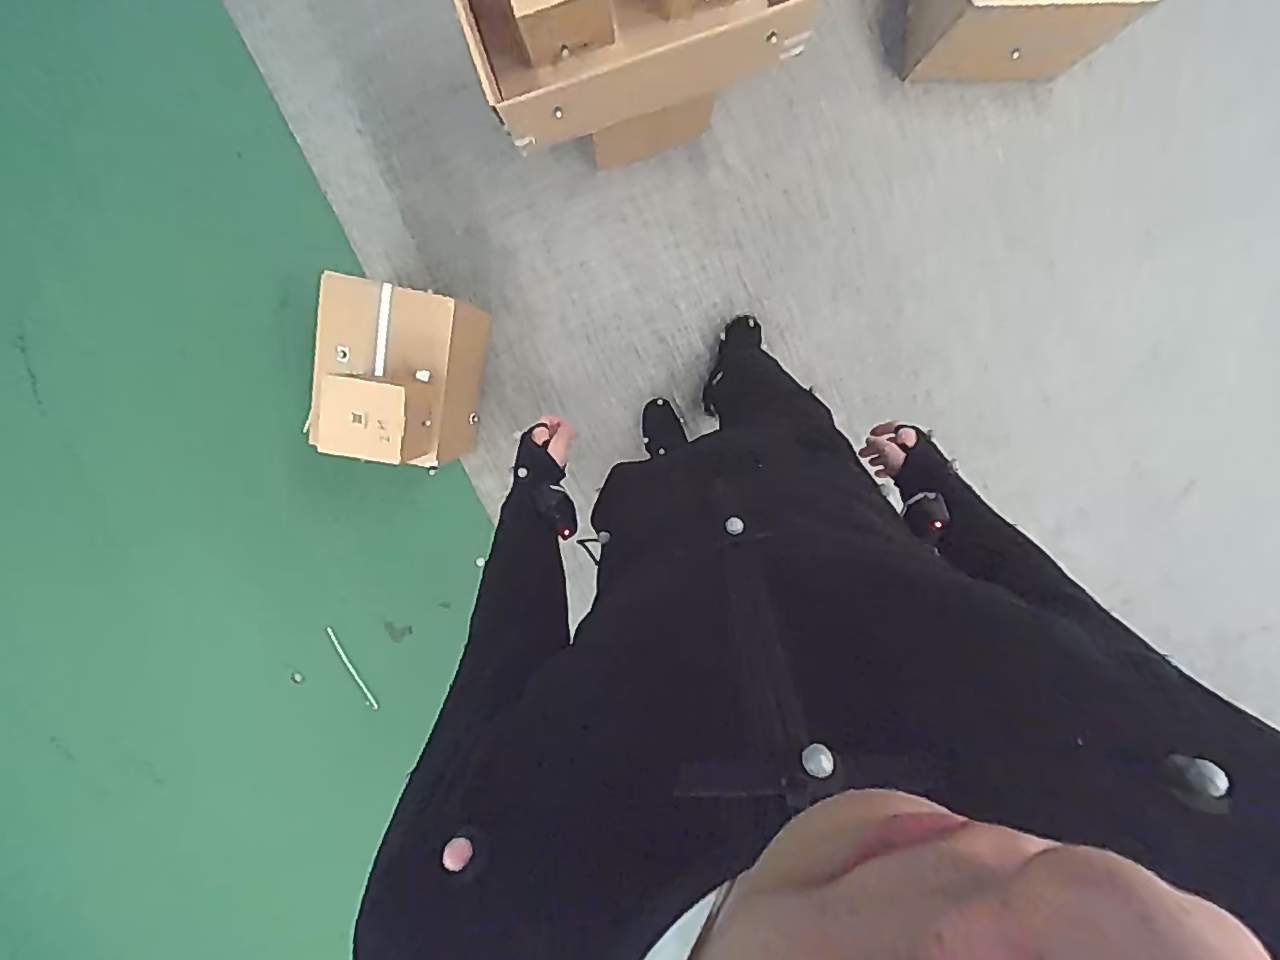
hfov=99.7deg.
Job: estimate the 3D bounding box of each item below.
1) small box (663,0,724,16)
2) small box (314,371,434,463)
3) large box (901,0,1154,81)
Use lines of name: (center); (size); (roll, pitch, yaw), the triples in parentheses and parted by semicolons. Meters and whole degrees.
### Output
small box: (0.105, -0.958, 0.921); (0.168, 0.176, 0.179); (-17, 102, 3)
small box: (-0.575, -0.141, 1.184); (0.179, 0.176, 0.168); (9, 101, -3)
large box: (0.876, -1.167, 1.238); (0.408, 0.320, 0.320); (-1, 101, 1)
